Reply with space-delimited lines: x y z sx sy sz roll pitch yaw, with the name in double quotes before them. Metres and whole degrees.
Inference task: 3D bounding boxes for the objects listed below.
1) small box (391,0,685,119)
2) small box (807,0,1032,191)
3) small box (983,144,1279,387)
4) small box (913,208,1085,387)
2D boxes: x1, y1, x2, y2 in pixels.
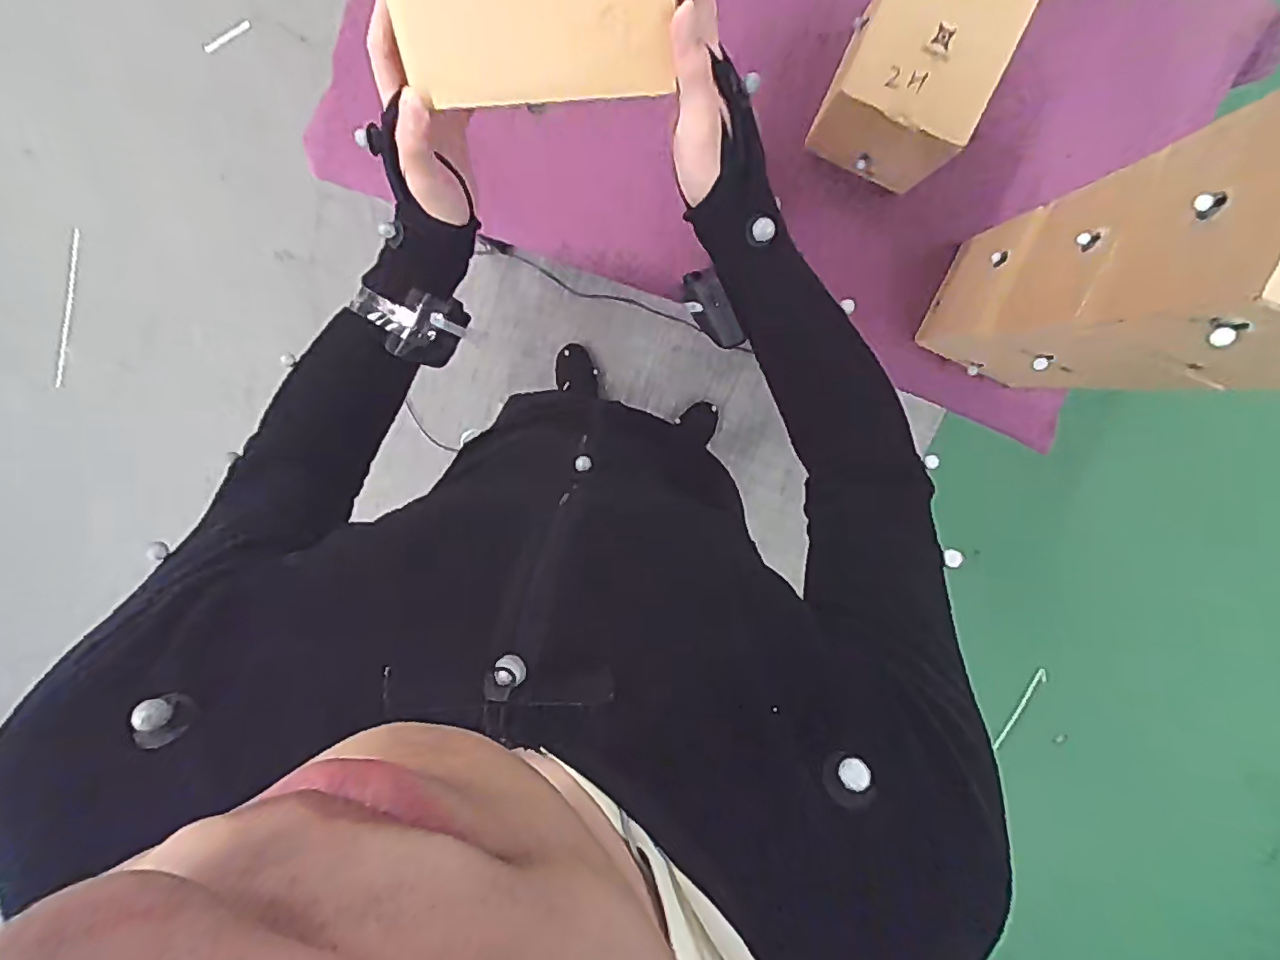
"small box" -0.056 -0.347 0.339 0.168 0.176 0.179 0 131 5
"small box" 0.342 -0.519 0.705 0.168 0.176 0.179 24 101 -3
"small box" 0.527 -0.214 0.593 0.168 0.176 0.179 24 101 -1
"small box" 0.528 -0.241 0.754 0.179 0.176 0.168 23 100 -3
